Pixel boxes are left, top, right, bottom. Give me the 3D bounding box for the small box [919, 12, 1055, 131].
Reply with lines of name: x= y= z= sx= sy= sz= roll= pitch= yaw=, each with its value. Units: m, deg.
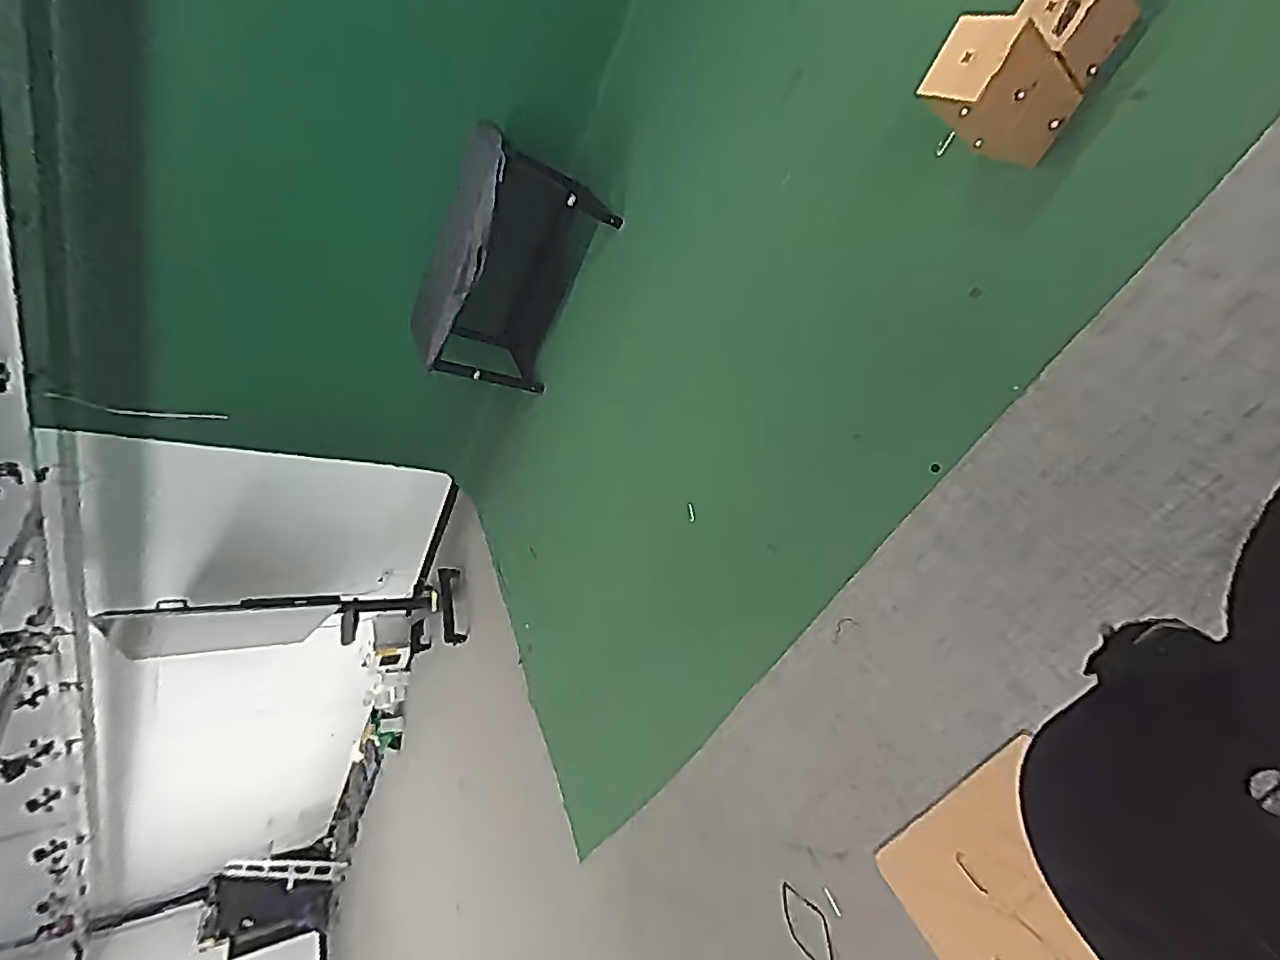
small box: x=0.806 y=-0.946 z=1.260 sx=0.179 sy=0.176 sz=0.168 roll=53 pitch=126 yaw=43
